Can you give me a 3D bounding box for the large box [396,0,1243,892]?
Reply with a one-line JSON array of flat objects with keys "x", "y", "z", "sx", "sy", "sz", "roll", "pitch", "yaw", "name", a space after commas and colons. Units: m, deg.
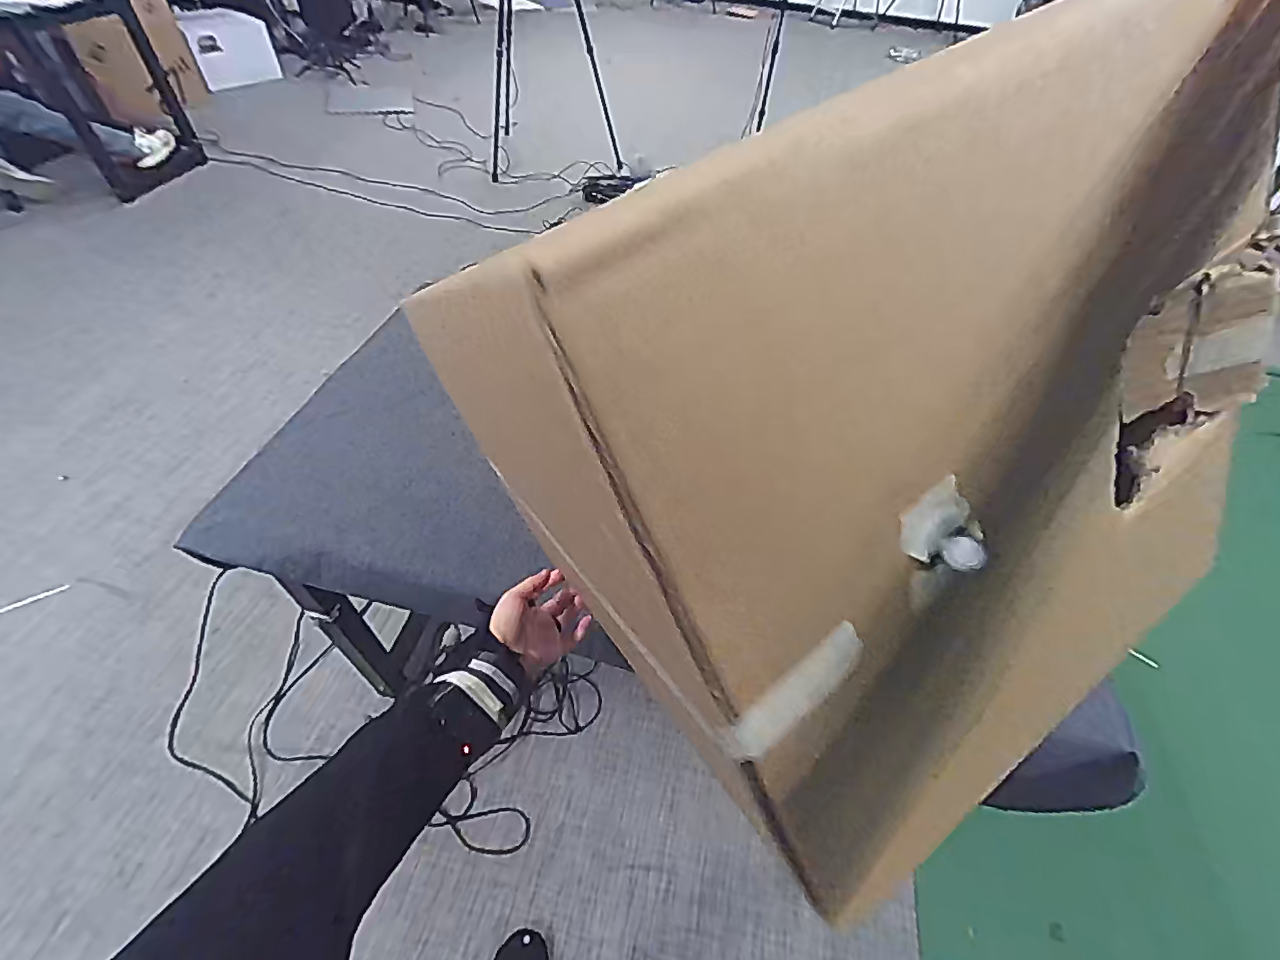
[{"x": 0.068, "y": -0.045, "z": 0.392, "sx": 0.320, "sy": 0.320, "sz": 0.408, "roll": -34, "pitch": 29, "yaw": -17, "name": "large box"}]
